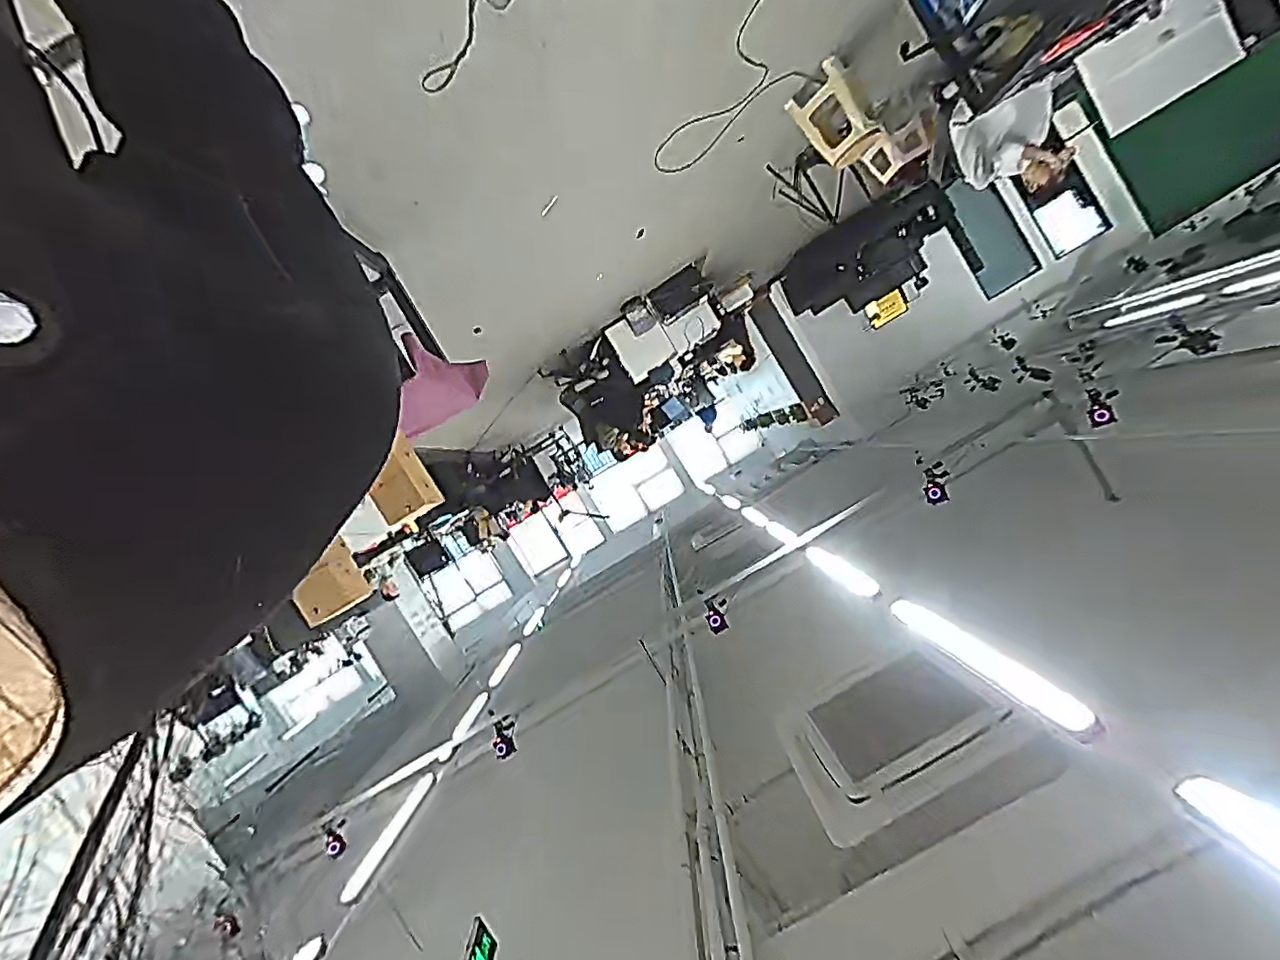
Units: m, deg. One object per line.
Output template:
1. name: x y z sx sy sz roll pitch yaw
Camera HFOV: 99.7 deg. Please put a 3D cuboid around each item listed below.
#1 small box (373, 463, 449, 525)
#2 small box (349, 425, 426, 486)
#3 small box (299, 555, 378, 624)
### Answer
1. small box: -0.862 0.044 2.041 0.168 0.176 0.179 -32 -177 5
2. small box: -0.946 -0.096 2.028 0.168 0.176 0.179 -31 -178 3
3. small box: -1.127 0.401 2.014 0.179 0.176 0.168 -32 -178 1
